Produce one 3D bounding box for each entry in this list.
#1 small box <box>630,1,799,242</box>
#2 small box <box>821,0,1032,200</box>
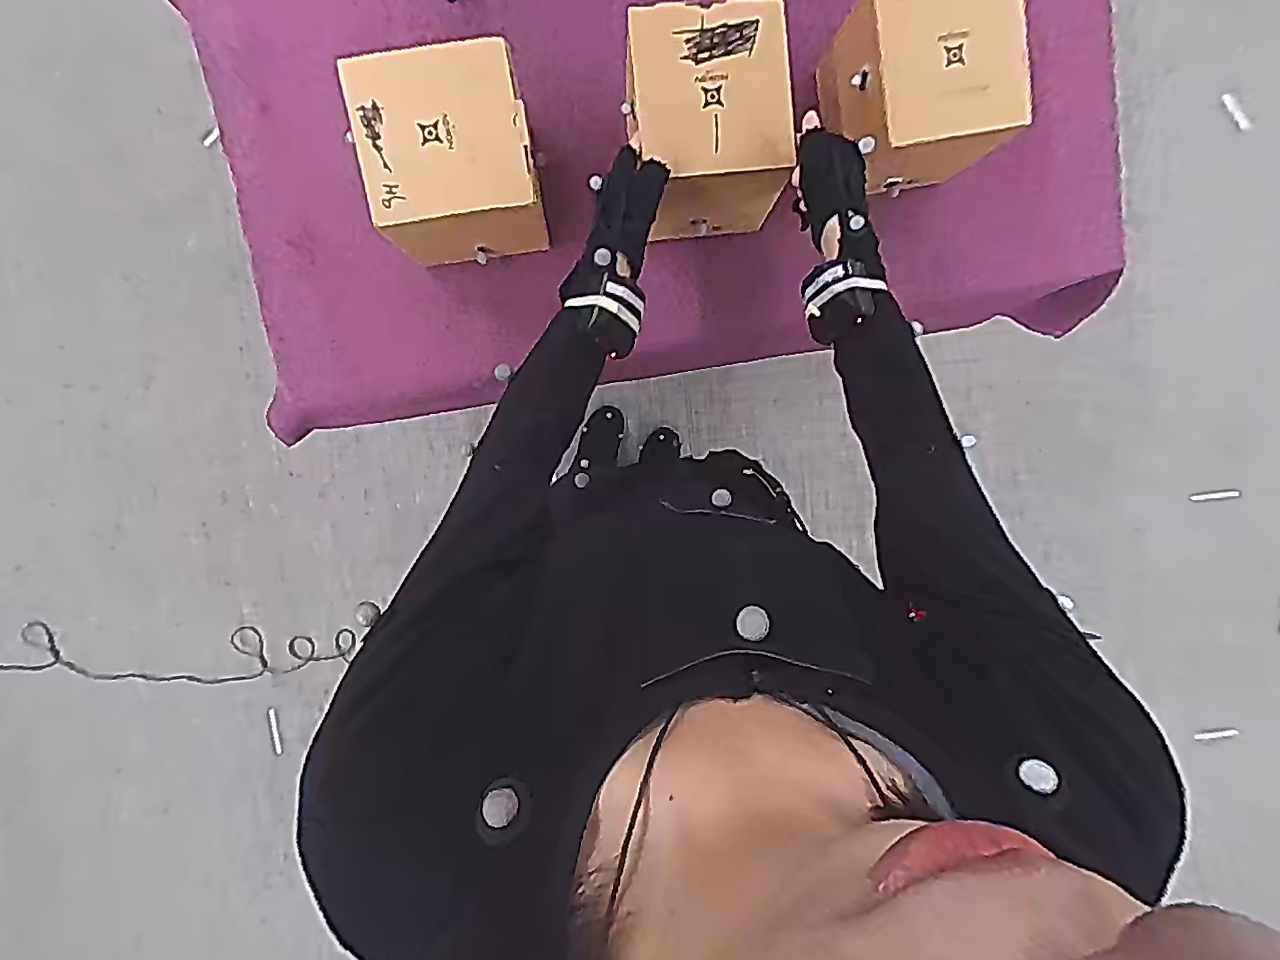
[{"bbox_3d":[0.076,-0.409,0.643,0.168,0.176,0.179,-5,91,-1],"label":"small box"},{"bbox_3d":[0.340,-0.480,0.671,0.168,0.176,0.179,-11,98,-1],"label":"small box"}]
